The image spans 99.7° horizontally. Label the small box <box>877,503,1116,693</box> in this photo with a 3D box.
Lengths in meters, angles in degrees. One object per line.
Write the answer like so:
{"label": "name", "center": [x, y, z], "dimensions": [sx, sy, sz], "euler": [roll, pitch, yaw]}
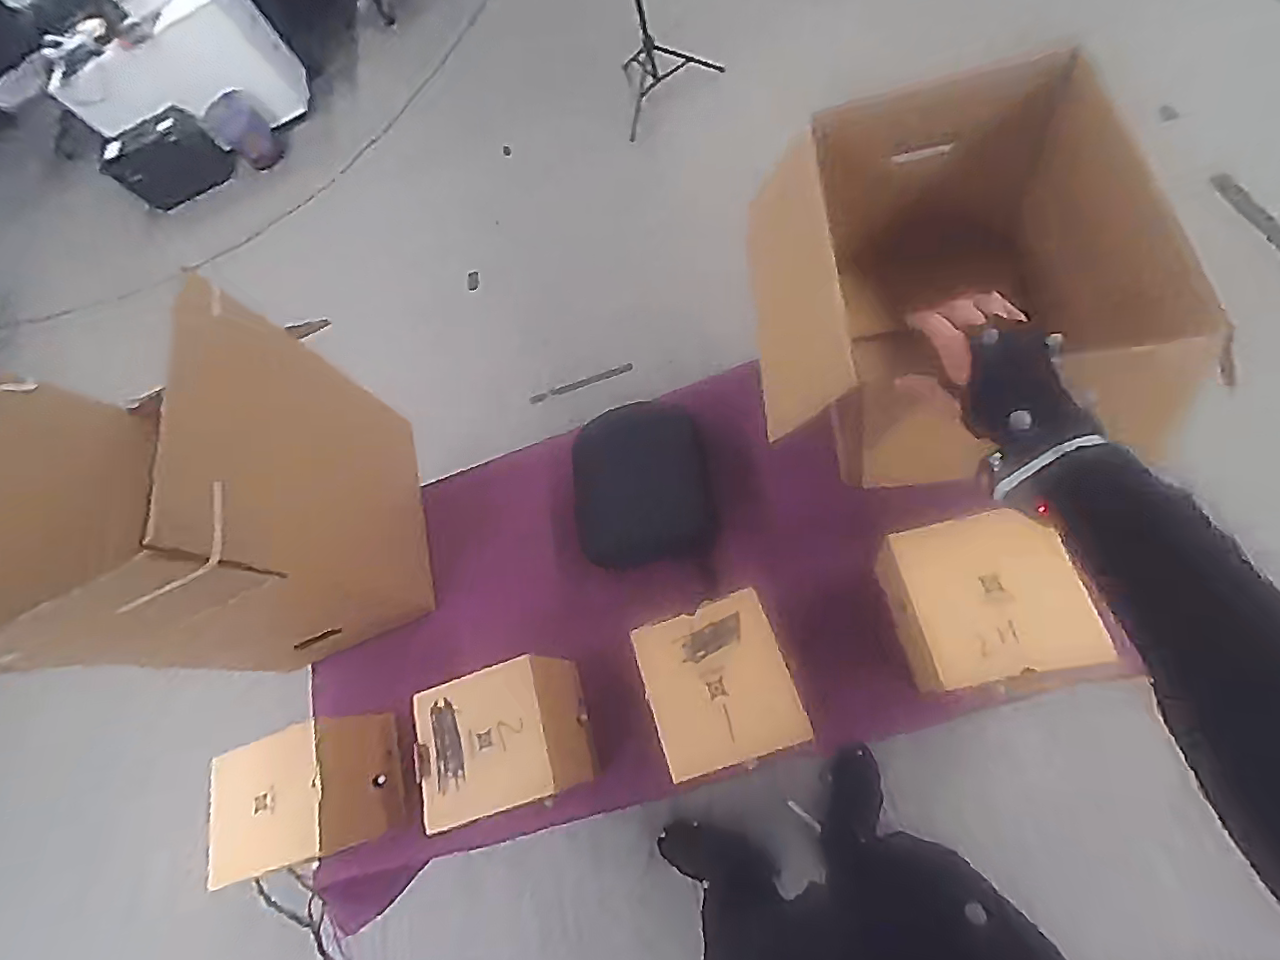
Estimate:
{"label": "small box", "center": [0.399, 0.150, 0.649], "dimensions": [0.168, 0.176, 0.179], "euler": [-16, 65, 12]}

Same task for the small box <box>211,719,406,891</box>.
{"label": "small box", "center": [-0.478, 0.464, 0.795], "dimensions": [0.179, 0.176, 0.168], "euler": [-23, 64, 6]}
